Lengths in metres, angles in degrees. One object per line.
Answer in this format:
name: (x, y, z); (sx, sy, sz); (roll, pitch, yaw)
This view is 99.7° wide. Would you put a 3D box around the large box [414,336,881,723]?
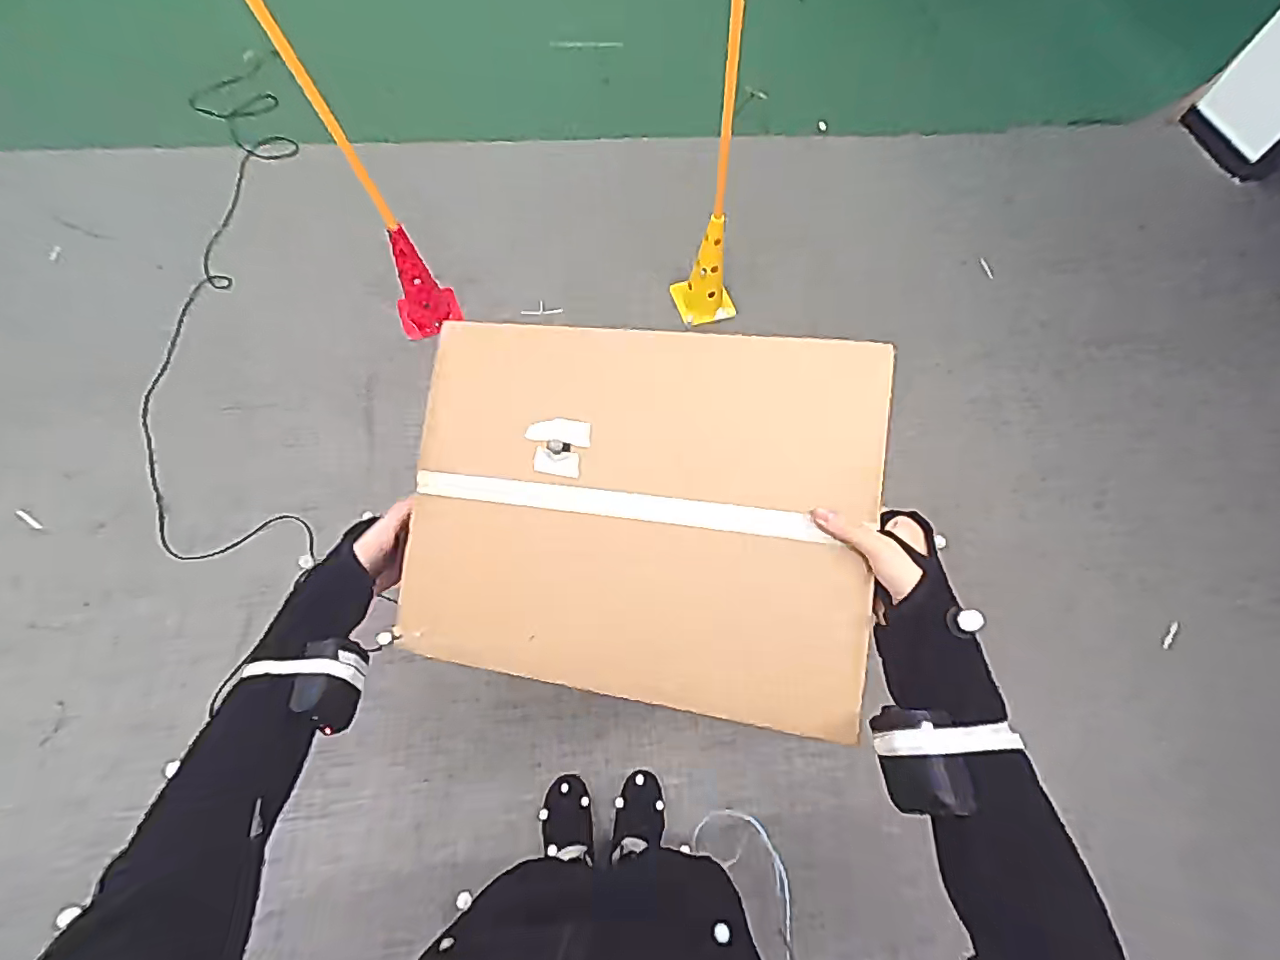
large box: (0.026, 0.038, 0.620); (0.408, 0.320, 0.320); (6, 85, 14)
